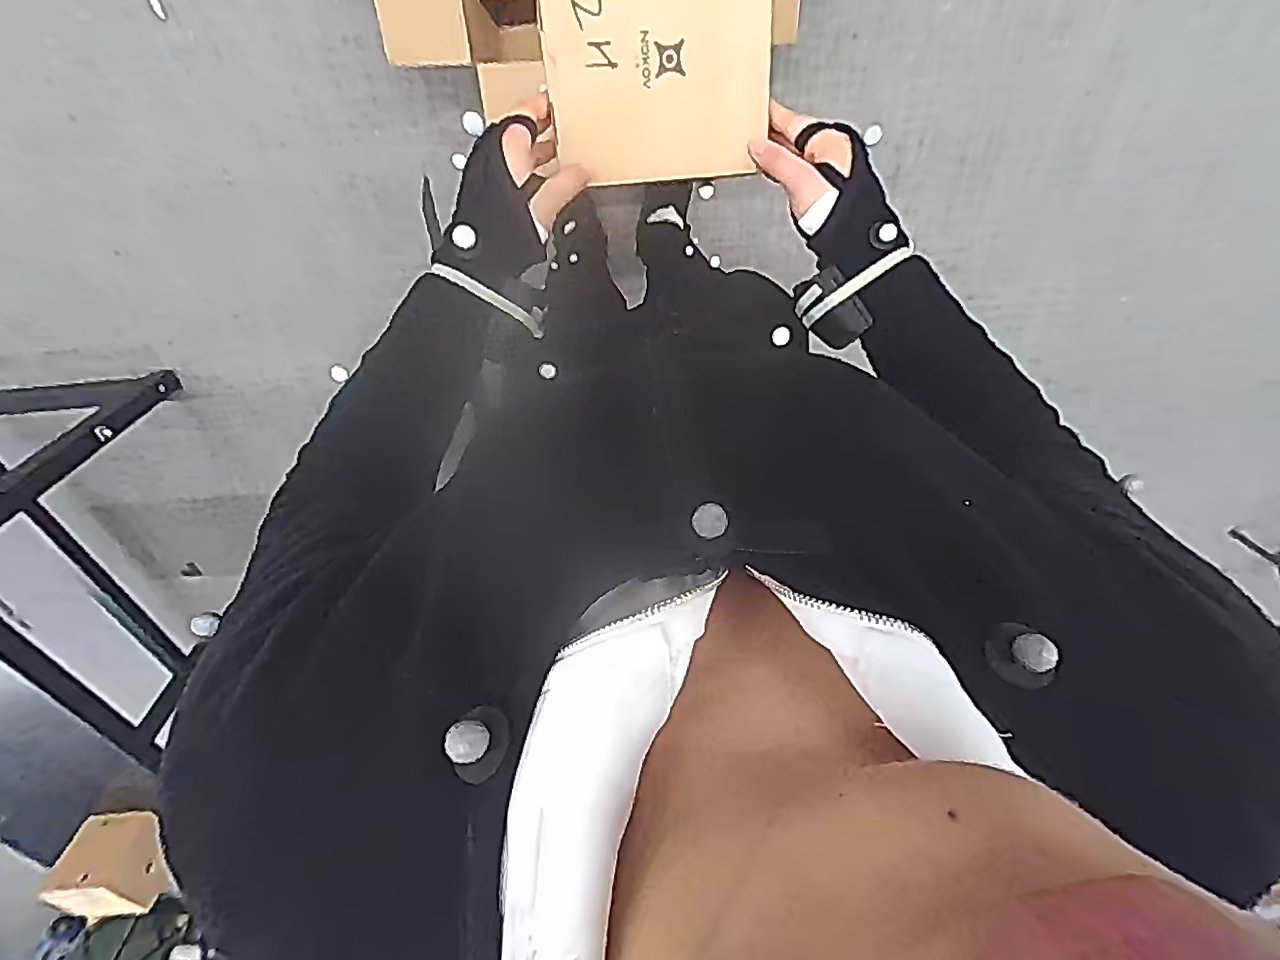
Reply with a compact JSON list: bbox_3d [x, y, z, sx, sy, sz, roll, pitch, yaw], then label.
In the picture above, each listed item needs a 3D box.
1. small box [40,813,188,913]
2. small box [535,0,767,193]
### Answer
[{"bbox_3d":[-1.323,0.975,1.380,0.168,0.176,0.179,-6,128,1],"label":"small box"},{"bbox_3d":[0.006,-0.360,0.490,0.179,0.176,0.168,-5,118,-1],"label":"small box"}]
